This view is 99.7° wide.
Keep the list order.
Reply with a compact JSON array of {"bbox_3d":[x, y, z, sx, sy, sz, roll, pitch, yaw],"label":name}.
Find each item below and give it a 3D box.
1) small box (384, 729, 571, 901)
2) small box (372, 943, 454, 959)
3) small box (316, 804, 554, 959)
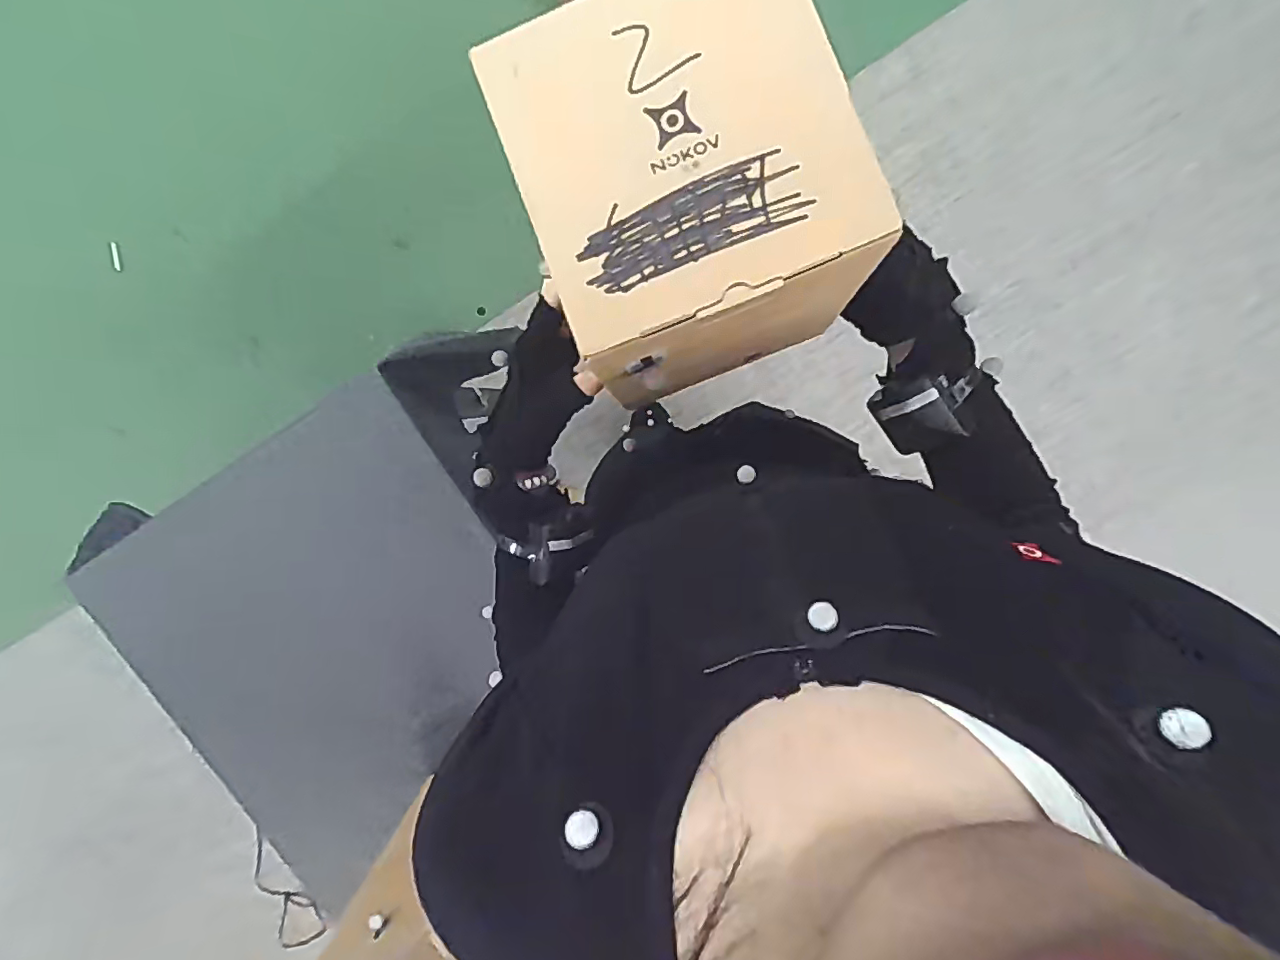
[{"bbox_3d":[-0.214,0.499,0.775,0.179,0.176,0.168,-32,96,8],"label":"small box"},{"bbox_3d":[-0.229,0.543,0.451,0.168,0.176,0.179,-30,96,7],"label":"small box"},{"bbox_3d":[-0.222,0.522,0.614,0.179,0.176,0.168,-32,96,7],"label":"small box"}]
